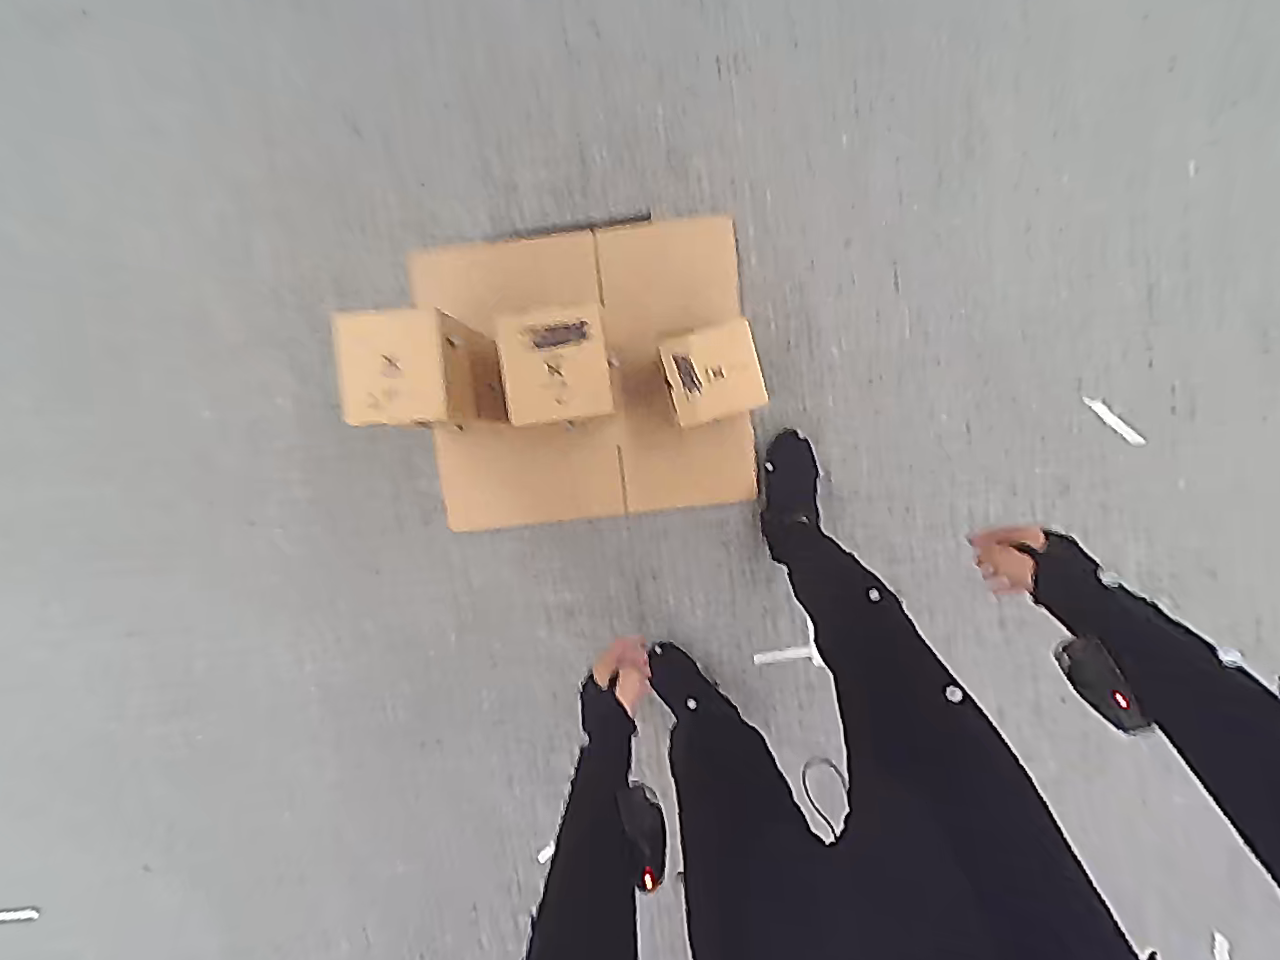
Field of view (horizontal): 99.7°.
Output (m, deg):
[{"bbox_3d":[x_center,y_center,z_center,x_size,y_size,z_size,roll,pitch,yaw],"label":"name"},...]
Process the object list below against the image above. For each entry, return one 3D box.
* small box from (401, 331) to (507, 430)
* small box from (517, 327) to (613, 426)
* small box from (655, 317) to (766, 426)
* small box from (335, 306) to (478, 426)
[{"bbox_3d":[-0.375,-0.195,1.090,0.168,0.176,0.179,-4,96,2],"label":"small box"},{"bbox_3d":[-0.144,-0.200,1.085,0.168,0.176,0.179,-3,95,2],"label":"small box"},{"bbox_3d":[0.134,-0.206,1.080,0.179,0.176,0.168,-15,95,2],"label":"small box"},{"bbox_3d":[-0.389,-0.186,0.926,0.168,0.176,0.179,-3,95,2],"label":"small box"}]
